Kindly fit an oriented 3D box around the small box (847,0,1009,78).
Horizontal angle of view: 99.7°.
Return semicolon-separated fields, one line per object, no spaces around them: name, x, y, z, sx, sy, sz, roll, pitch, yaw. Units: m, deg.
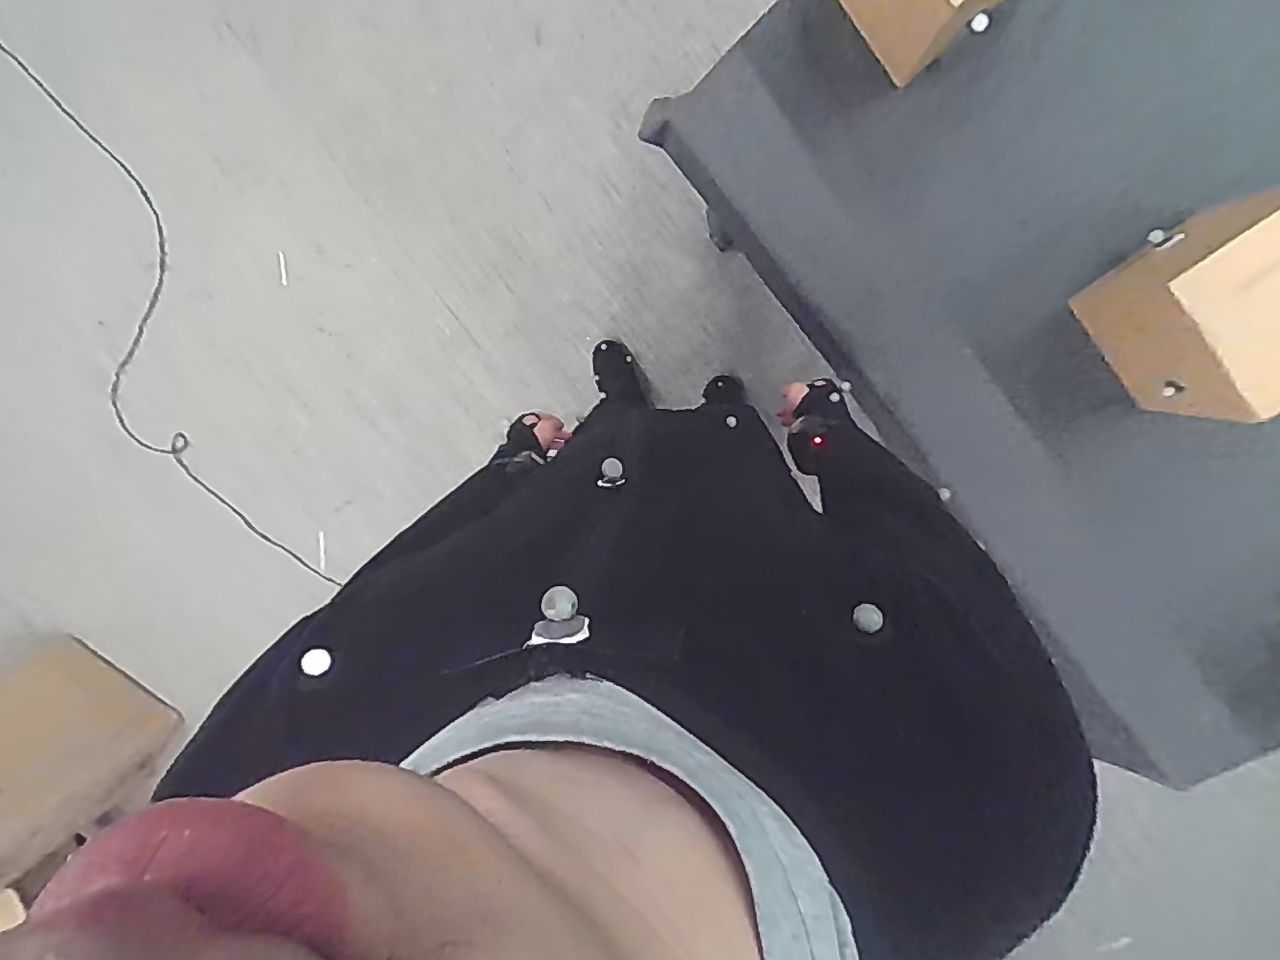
small box;0.319;-0.571;0.549;0.168;0.176;0.179;-37;97;15

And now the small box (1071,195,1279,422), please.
small box;0.646;-0.189;0.600;0.168;0.176;0.179;-38;94;14
